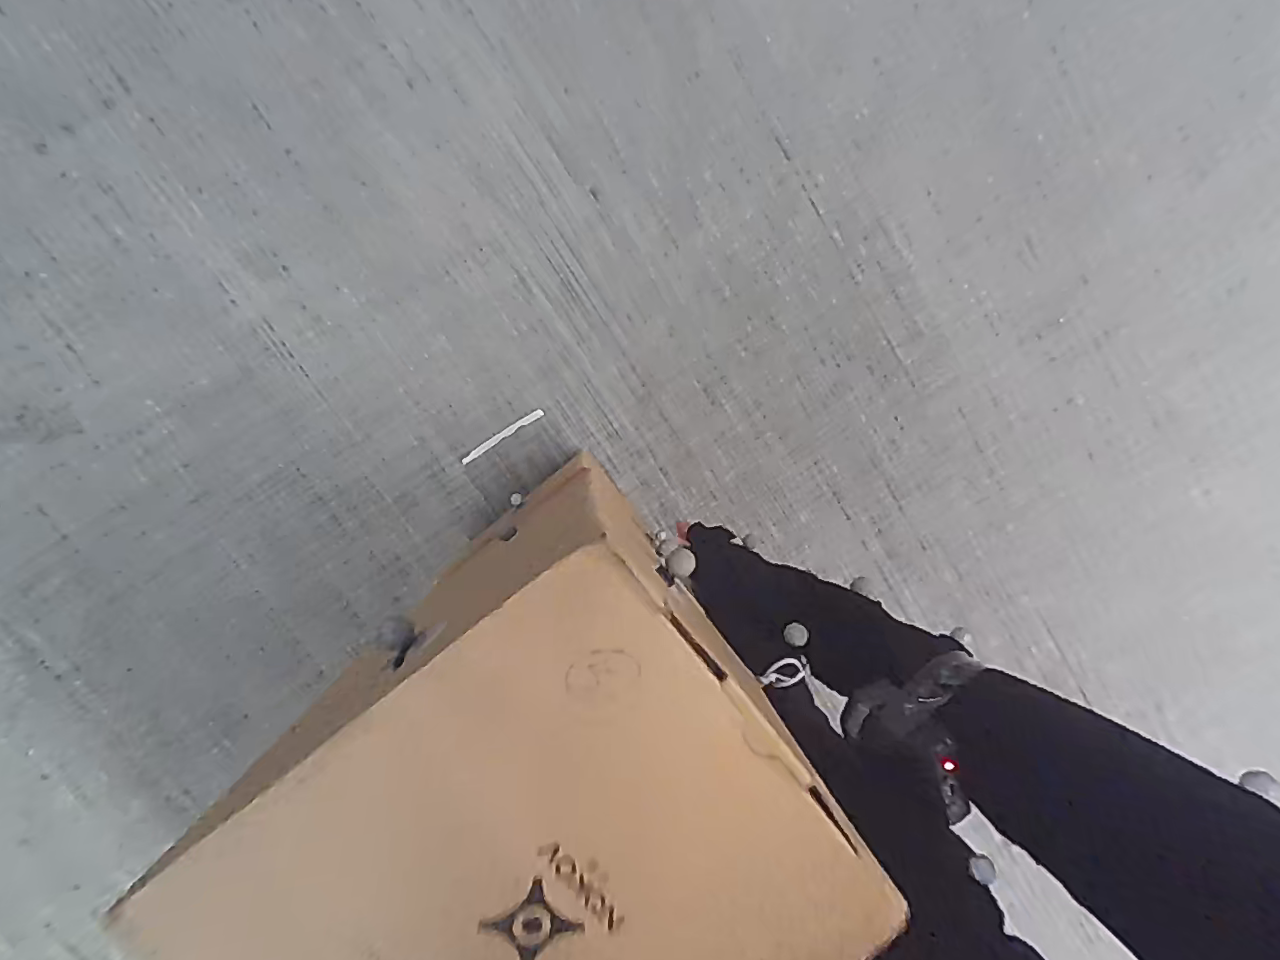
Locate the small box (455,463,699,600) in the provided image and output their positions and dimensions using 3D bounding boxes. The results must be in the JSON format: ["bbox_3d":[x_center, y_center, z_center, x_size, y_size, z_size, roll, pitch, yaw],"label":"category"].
[{"bbox_3d":[-0.068,0.097,0.574,0.179,0.176,0.168,-43,98,-1],"label":"small box"}]

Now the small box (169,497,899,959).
[{"bbox_3d":[-0.033,0.126,0.251,0.179,0.176,0.168,-39,97,0],"label":"small box"}]
